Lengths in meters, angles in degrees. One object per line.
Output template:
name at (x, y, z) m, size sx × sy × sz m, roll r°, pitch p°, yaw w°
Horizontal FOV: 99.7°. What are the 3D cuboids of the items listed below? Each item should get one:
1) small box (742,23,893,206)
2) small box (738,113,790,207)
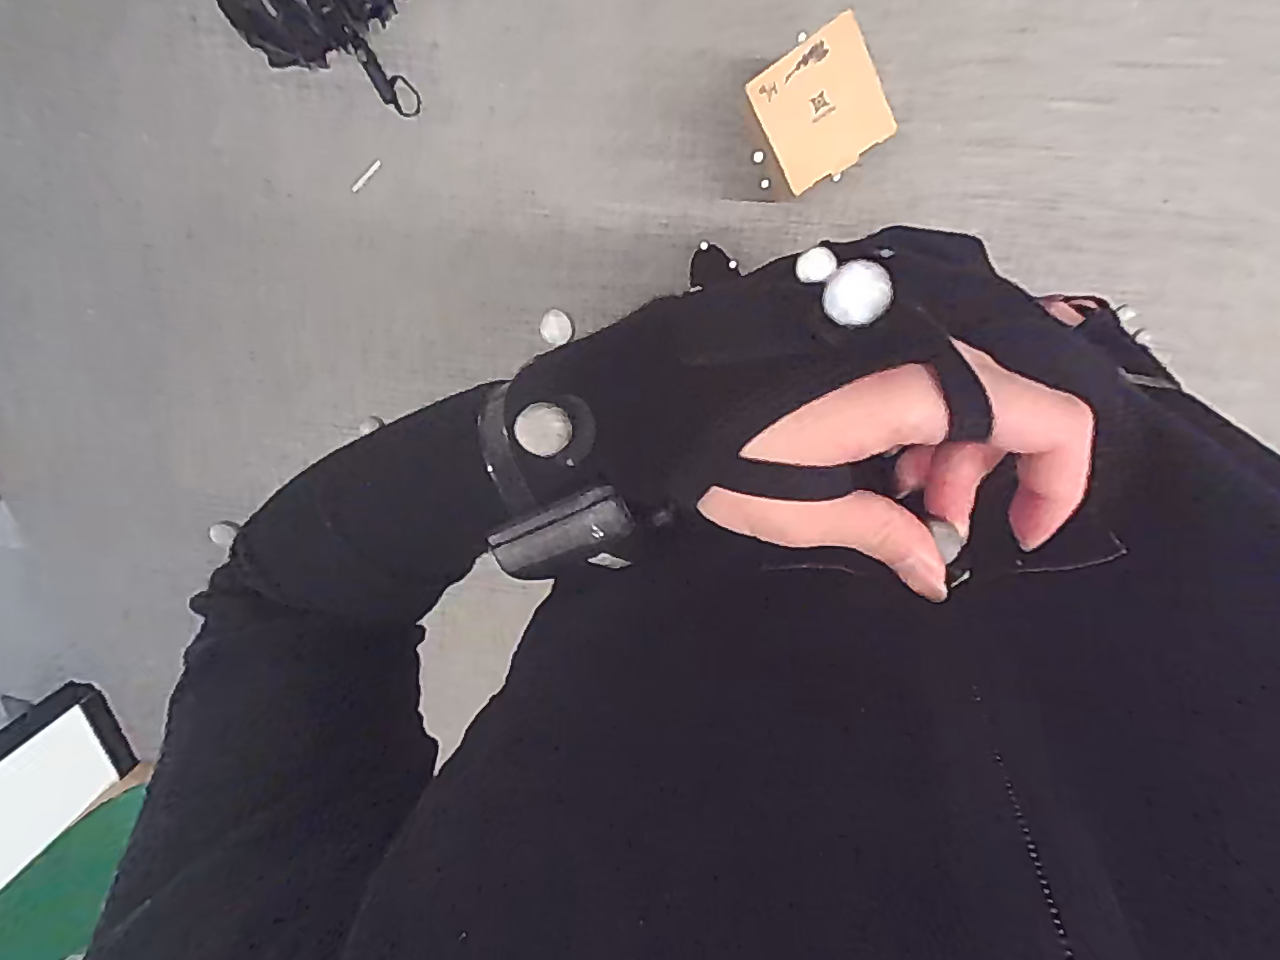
small box at (0.279, -0.575, 0.879) m, size 0.168 × 0.176 × 0.179 m, roll -27°, pitch 110°, yaw 18°
small box at (0.299, -0.645, 1.026) m, size 0.168 × 0.176 × 0.179 m, roll -28°, pitch 107°, yaw 19°
